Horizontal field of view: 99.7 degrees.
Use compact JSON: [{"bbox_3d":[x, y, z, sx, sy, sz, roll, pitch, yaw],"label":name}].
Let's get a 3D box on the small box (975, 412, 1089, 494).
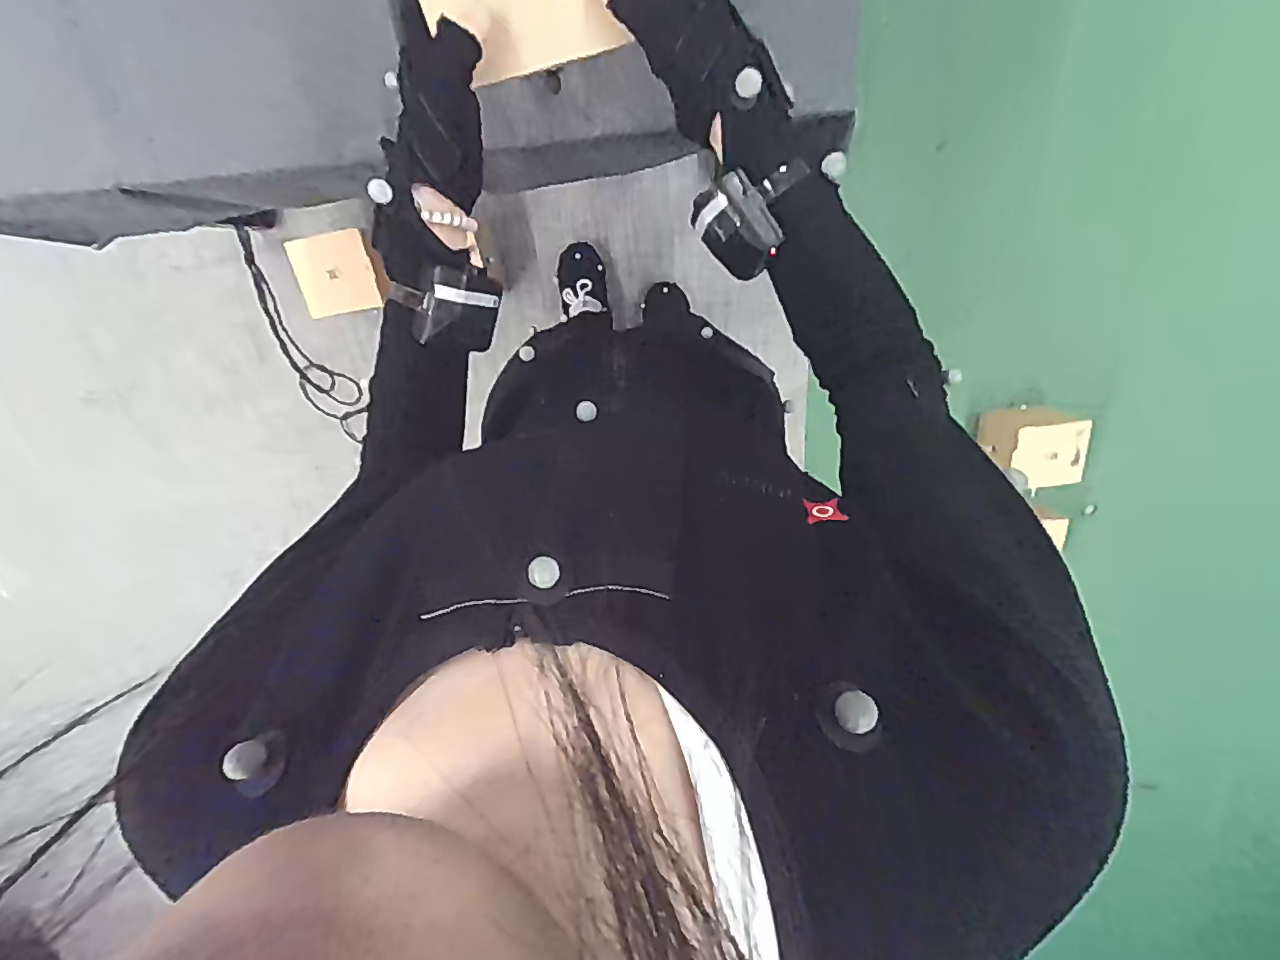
[{"bbox_3d":[1.015,-0.075,1.418,0.179,0.176,0.168,-5,112,4],"label":"small box"}]
